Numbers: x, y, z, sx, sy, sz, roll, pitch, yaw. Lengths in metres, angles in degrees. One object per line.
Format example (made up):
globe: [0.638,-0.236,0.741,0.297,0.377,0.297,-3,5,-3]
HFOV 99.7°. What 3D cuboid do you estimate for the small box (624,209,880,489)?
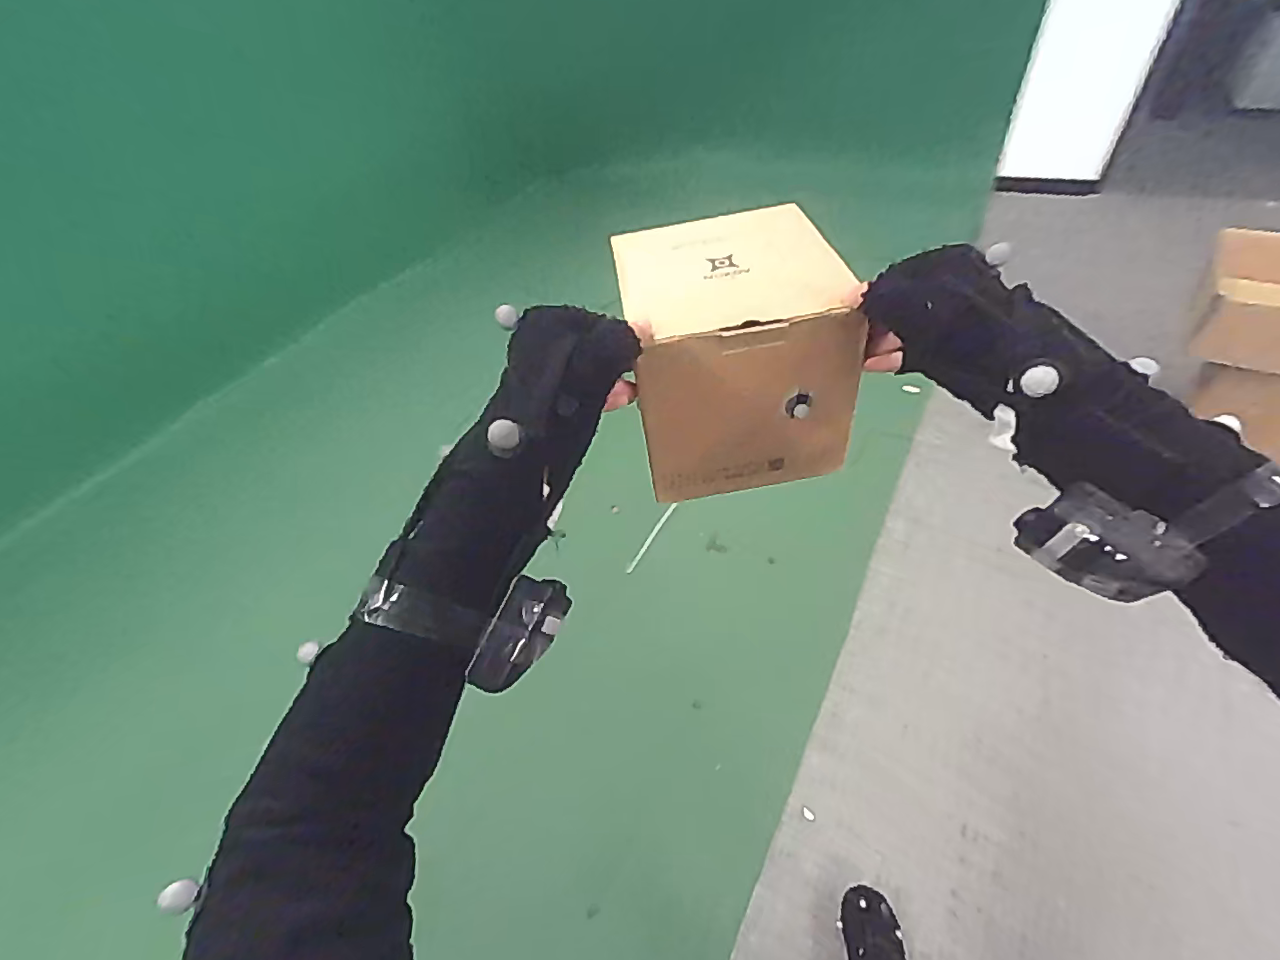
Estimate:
small box: [0.083,-0.107,0.473,0.168,0.176,0.179,-9,45,1]
